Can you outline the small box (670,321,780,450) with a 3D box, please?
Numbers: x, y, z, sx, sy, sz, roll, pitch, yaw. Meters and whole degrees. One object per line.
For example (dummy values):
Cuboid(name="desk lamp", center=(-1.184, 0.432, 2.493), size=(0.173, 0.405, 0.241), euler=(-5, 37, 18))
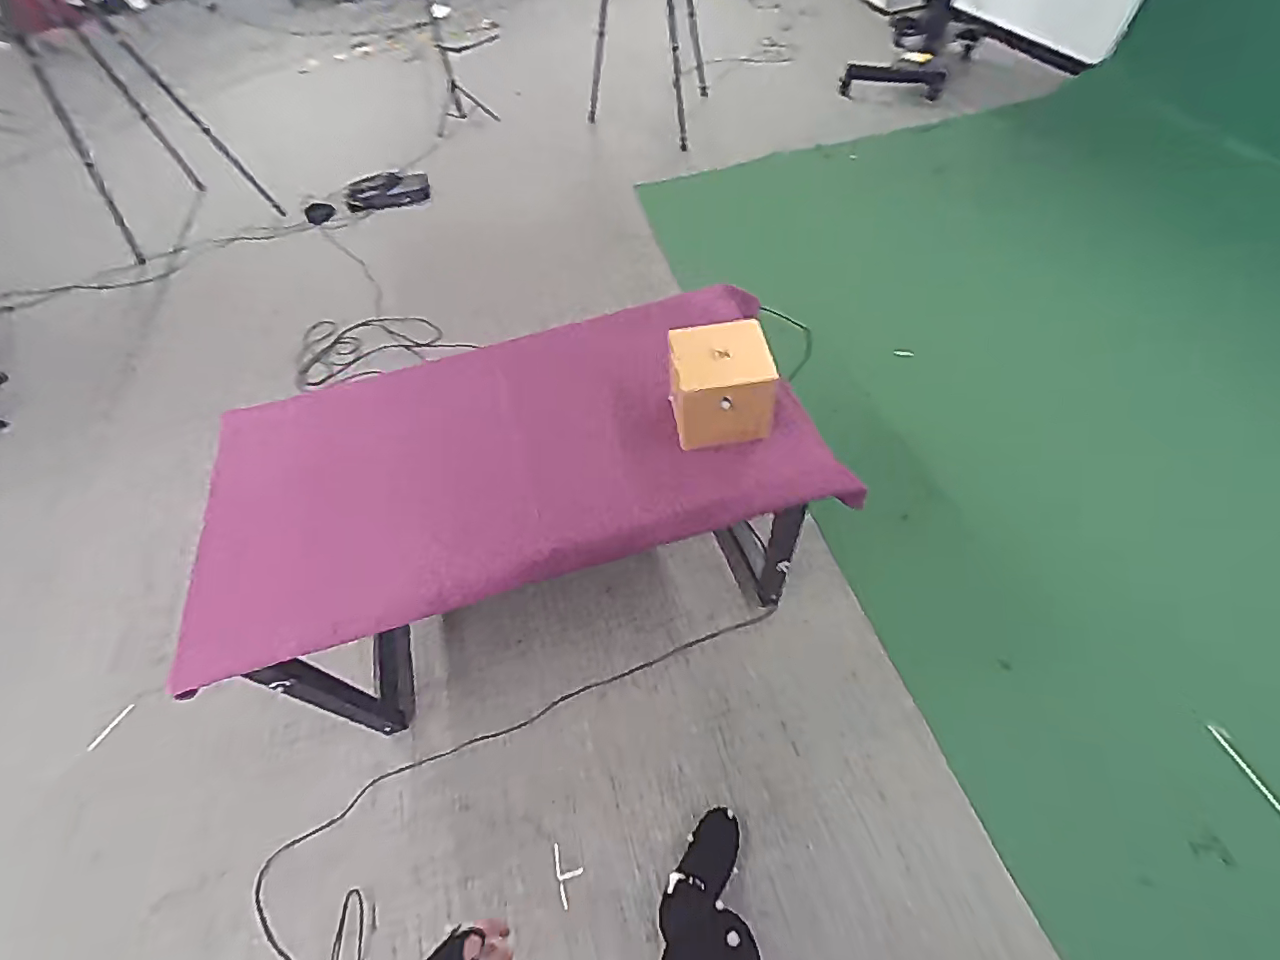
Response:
Cuboid(name="small box", center=(0.157, -0.178, 1.049), size=(0.179, 0.176, 0.168), euler=(-9, 55, 1))
